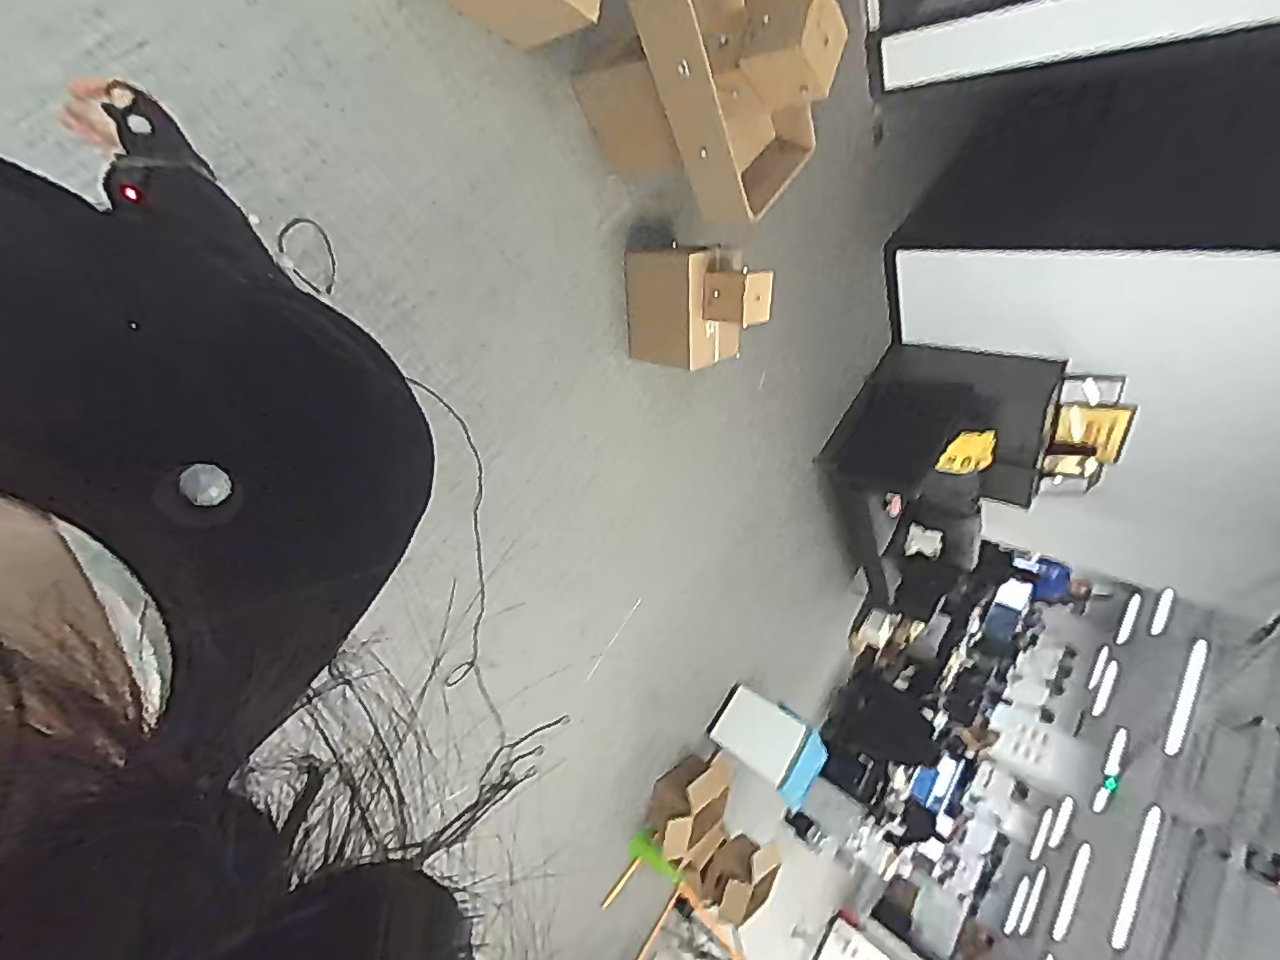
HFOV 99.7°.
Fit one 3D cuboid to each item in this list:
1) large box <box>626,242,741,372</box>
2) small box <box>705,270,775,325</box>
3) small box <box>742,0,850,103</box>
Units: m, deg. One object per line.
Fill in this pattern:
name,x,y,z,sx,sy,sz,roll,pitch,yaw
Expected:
large box,0.168,-0.669,2.059,0.320,0.320,0.408,-29,128,-38
small box,0.349,-0.644,1.893,0.179,0.176,0.168,-24,124,-42
small box,0.379,-1.058,1.317,0.179,0.176,0.168,13,96,-49
